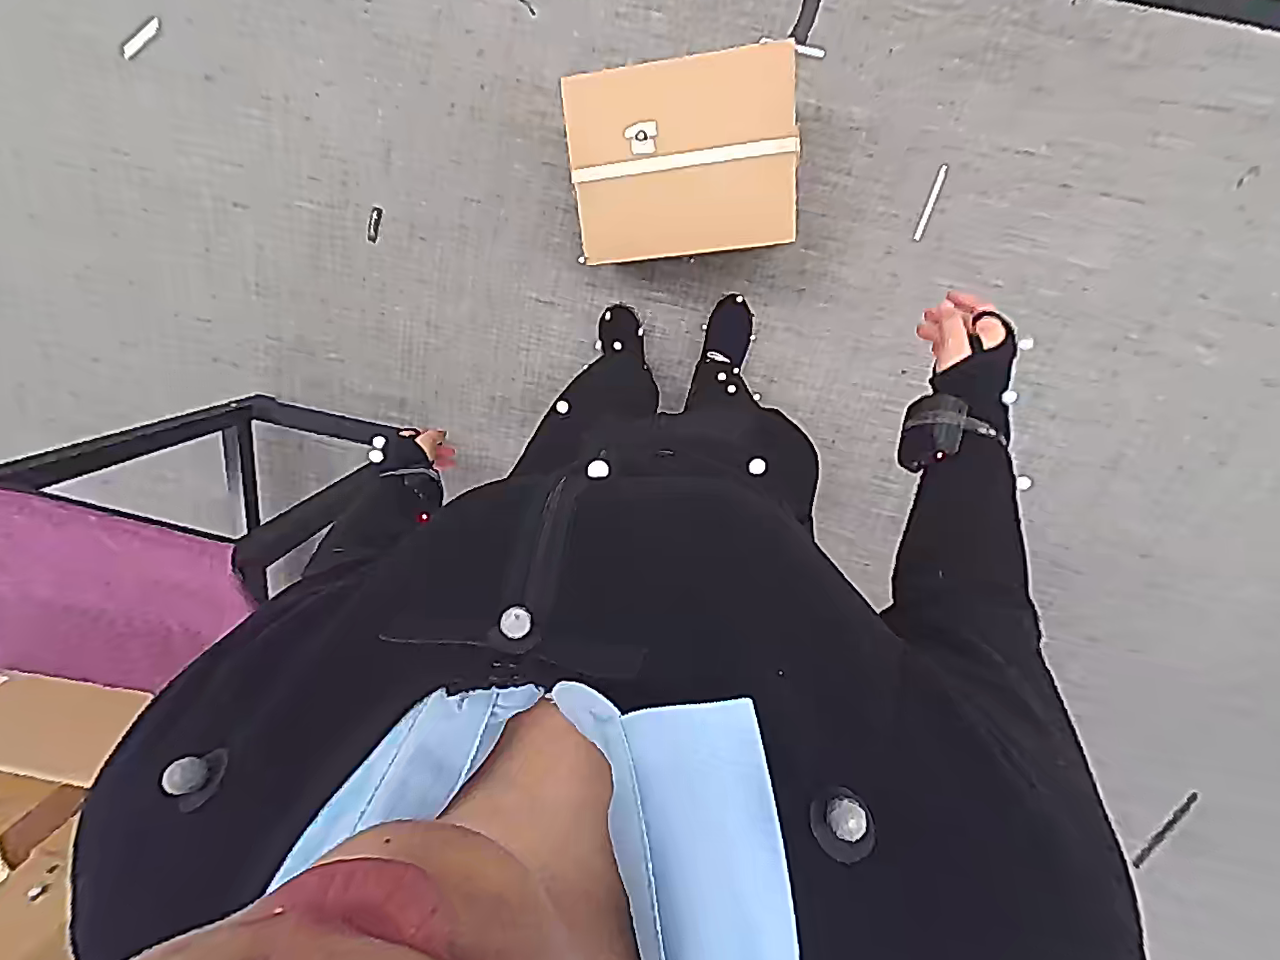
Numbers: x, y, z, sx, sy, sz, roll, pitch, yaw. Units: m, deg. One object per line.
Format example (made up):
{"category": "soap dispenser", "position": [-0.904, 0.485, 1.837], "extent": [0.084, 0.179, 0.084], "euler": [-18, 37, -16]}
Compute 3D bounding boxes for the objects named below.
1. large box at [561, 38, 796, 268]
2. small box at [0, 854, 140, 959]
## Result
{"category": "large box", "position": [0.094, -0.624, 1.104], "extent": [0.408, 0.320, 0.320], "euler": [-3, 111, 10]}
{"category": "small box", "position": [-0.948, 0.735, 0.845], "extent": [0.168, 0.176, 0.179], "euler": [4, 111, 8]}
